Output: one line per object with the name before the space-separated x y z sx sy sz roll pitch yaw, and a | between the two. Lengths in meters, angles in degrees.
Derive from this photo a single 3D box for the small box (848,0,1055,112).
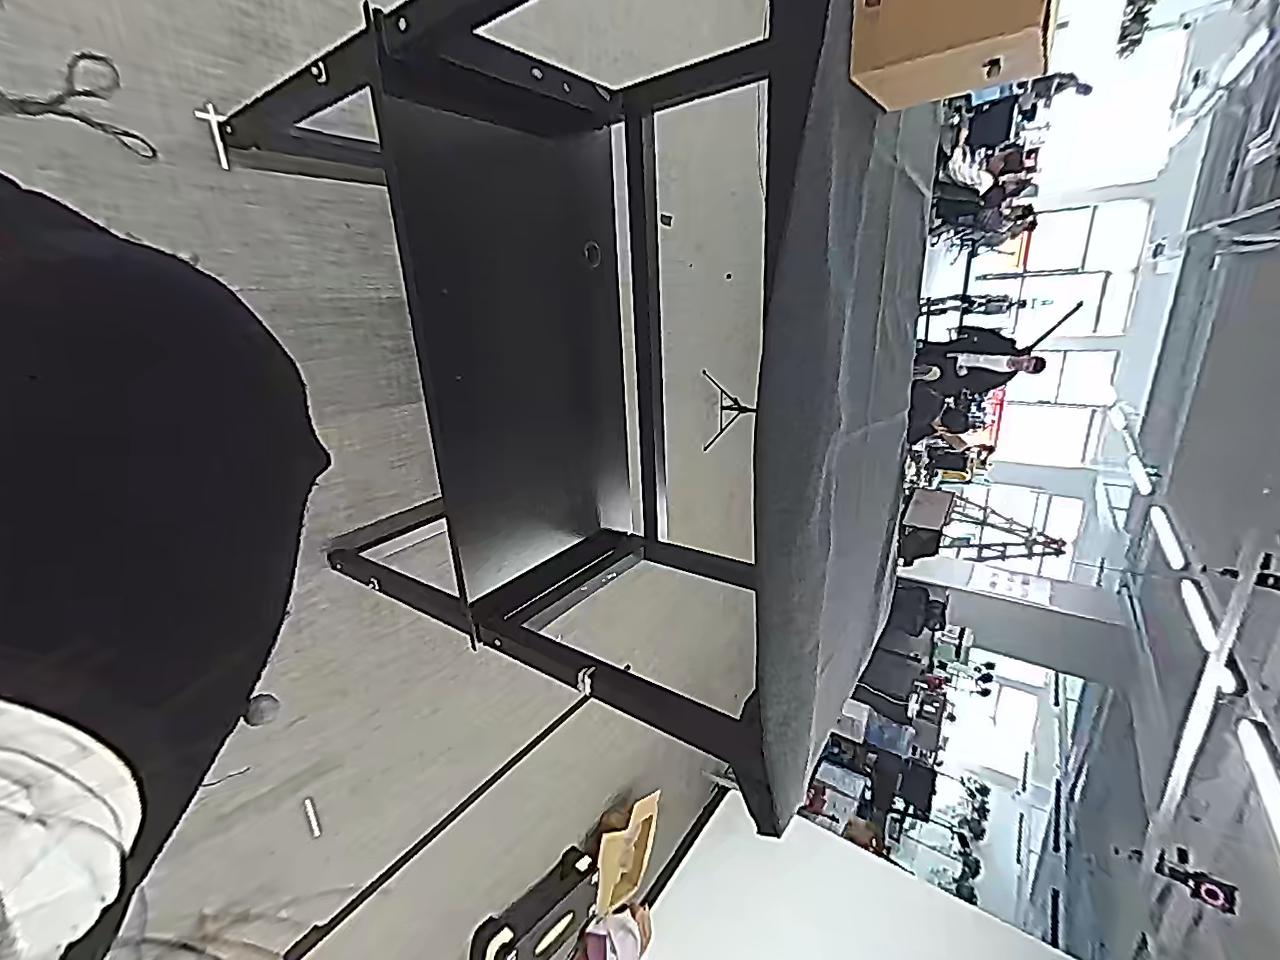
small box | 0.324 -0.504 0.557 0.179 0.176 0.168 -29 122 -49
